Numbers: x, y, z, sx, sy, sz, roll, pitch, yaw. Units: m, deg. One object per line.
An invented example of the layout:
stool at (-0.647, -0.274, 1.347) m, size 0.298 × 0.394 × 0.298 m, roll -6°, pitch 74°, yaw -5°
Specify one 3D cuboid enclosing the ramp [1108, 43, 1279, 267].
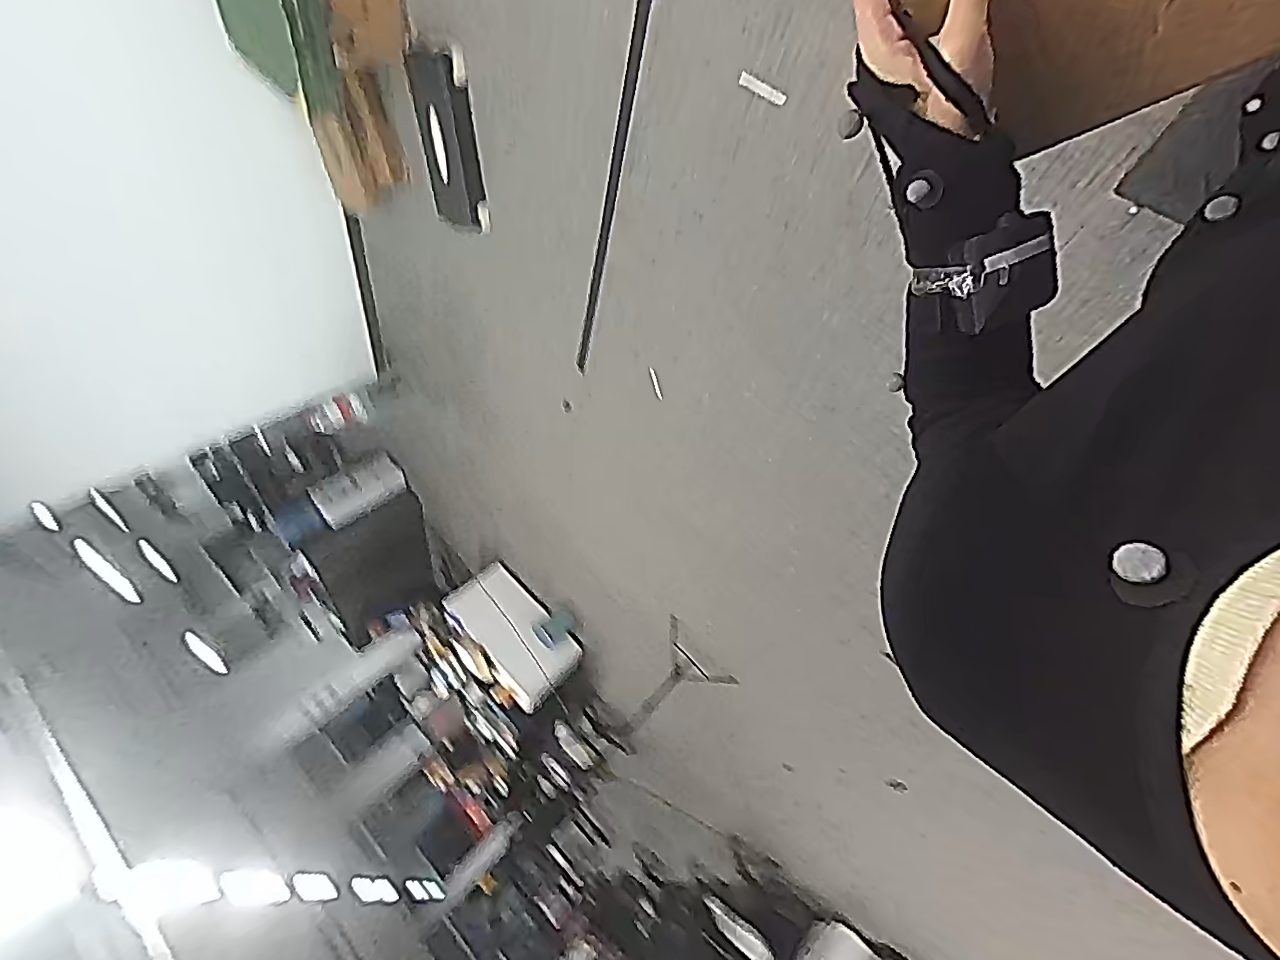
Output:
ramp at (1.299, -0.412, 0.699) m, size 0.991 × 0.206 × 0.509 m, roll 39°, pitch 142°, yaw 17°
